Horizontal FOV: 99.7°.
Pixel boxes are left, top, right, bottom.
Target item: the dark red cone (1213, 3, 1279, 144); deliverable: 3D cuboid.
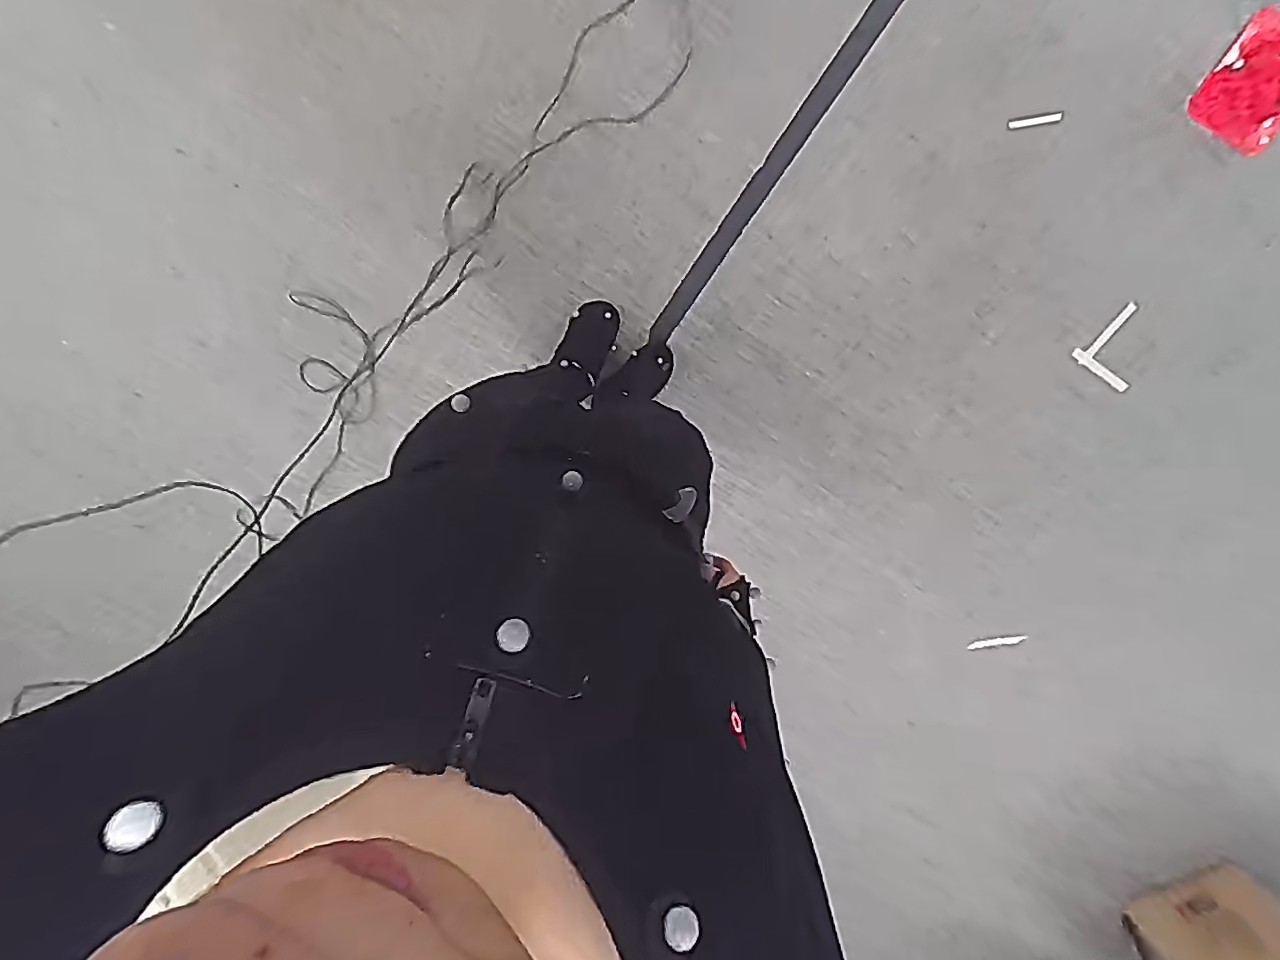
[{"bbox_3d":[1.231,-0.724,0.883,0.201,0.394,0.202,26,109,-7],"label":"dark red cone"}]
